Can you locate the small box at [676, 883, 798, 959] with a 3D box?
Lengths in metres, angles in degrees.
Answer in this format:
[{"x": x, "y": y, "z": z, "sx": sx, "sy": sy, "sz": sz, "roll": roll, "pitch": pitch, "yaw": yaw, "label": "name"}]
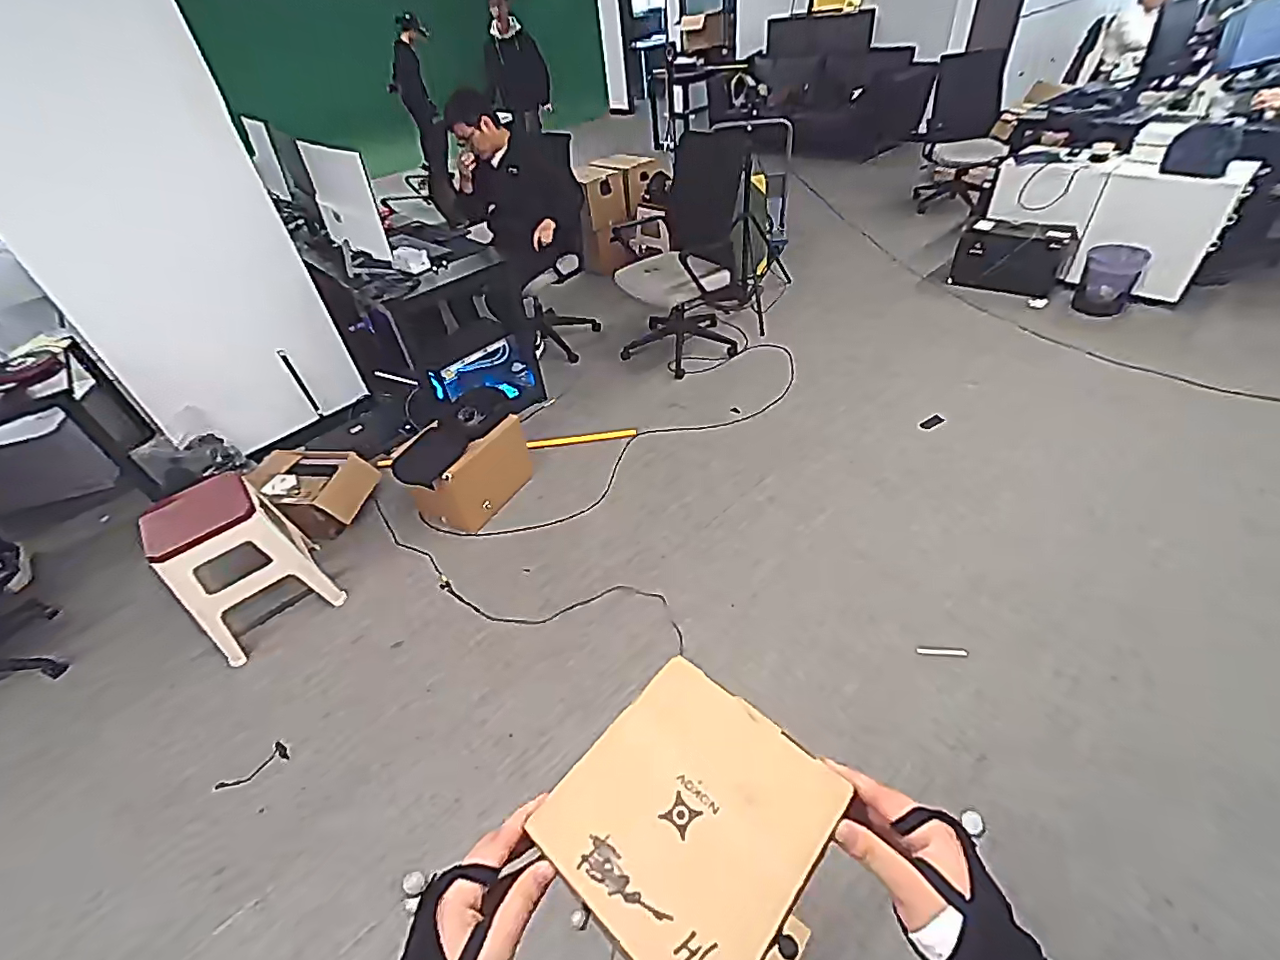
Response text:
[{"x": 0.188, "y": 0.960, "z": 1.072, "sx": 0.168, "sy": 0.176, "sz": 0.179, "roll": 30, "pitch": 54, "yaw": 34, "label": "small box"}]
